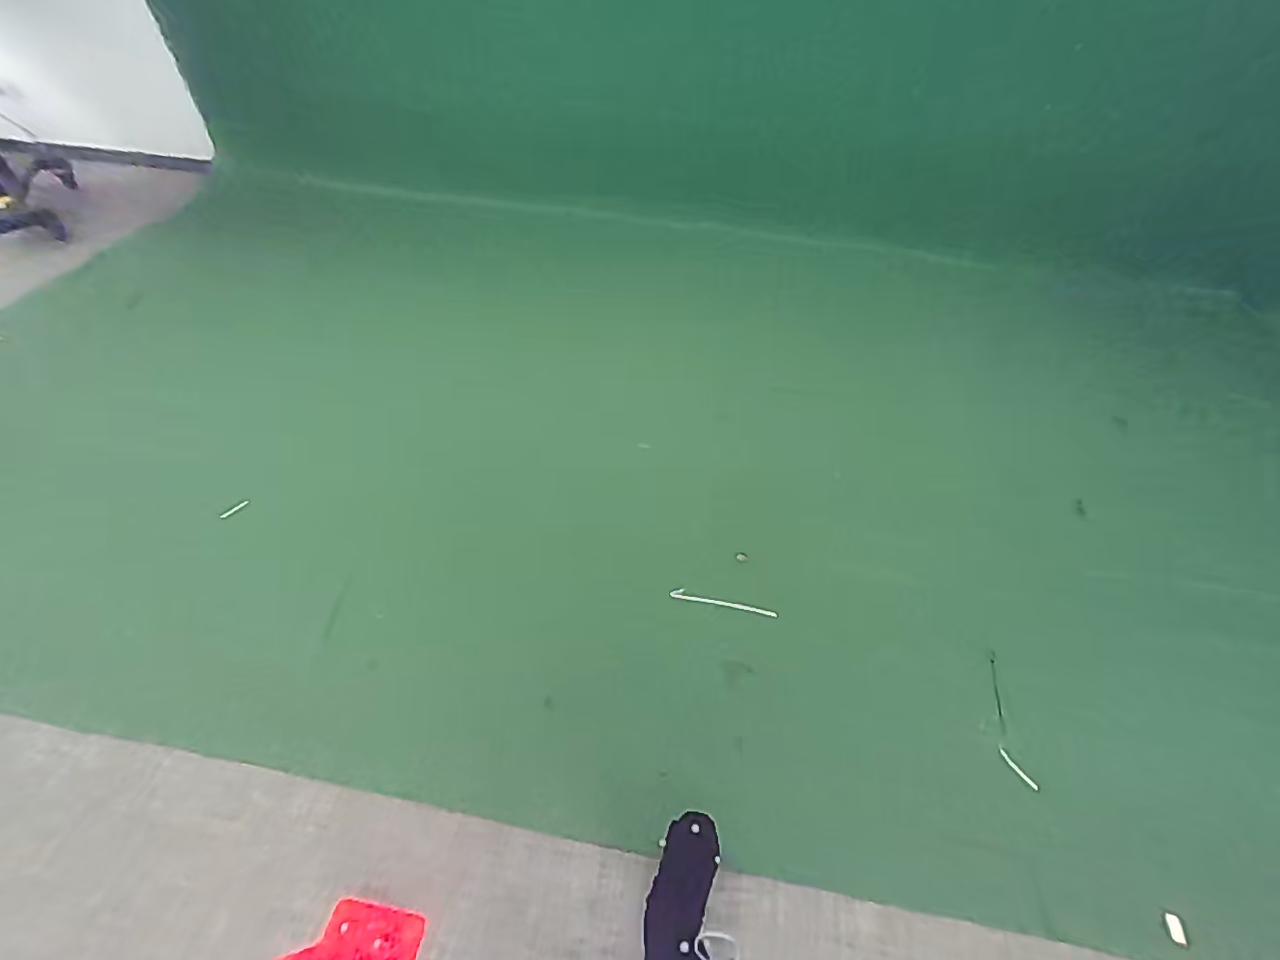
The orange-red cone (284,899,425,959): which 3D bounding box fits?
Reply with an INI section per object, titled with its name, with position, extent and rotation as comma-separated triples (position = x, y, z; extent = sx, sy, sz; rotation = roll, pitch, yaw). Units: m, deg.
[orange-red cone]
position = -0.546, 0.857, 0.938
extent = 0.198, 0.360, 0.199
rotation = 9, 50, 6
